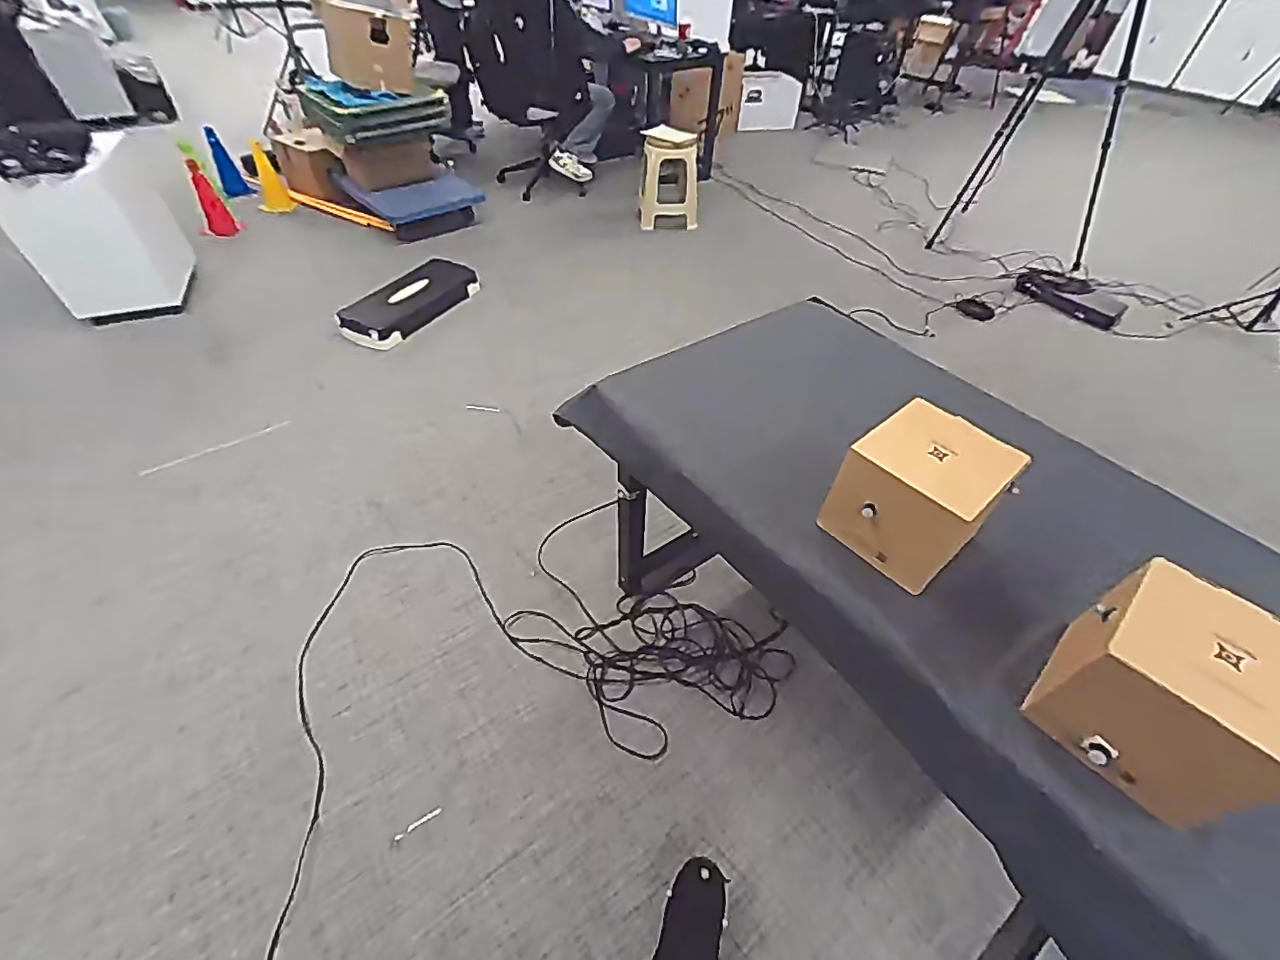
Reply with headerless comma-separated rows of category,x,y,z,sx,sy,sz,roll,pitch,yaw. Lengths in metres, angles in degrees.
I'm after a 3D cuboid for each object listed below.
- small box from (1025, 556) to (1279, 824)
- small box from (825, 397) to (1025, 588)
small box,0.563,0.223,0.582,0.179,0.176,0.168,-33,55,-29
small box,0.385,0.019,0.763,0.179,0.176,0.168,-31,56,-29
